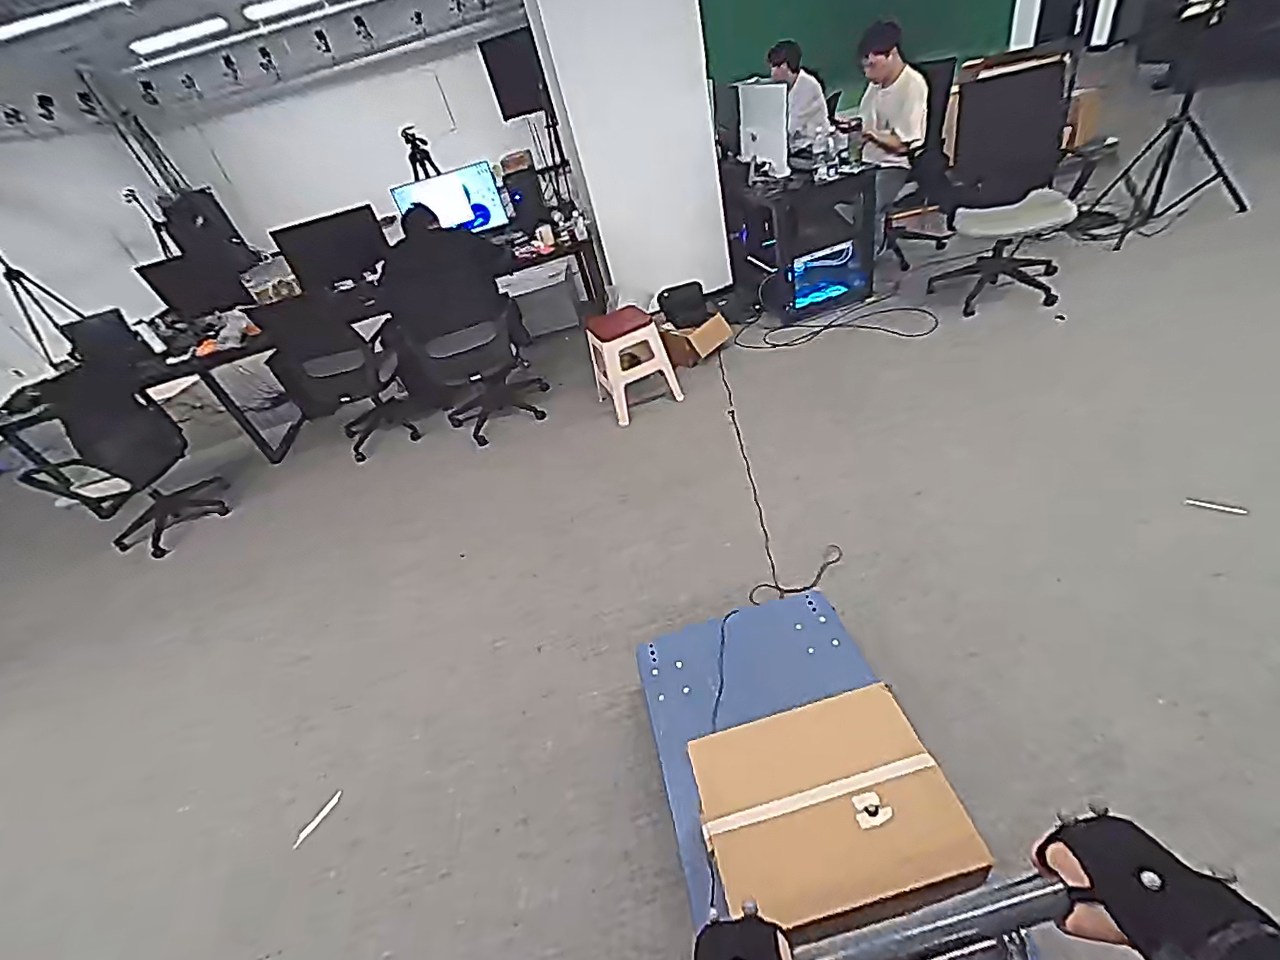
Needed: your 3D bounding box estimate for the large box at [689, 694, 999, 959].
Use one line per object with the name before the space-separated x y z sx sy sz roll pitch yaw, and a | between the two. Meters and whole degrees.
large box | 0.340 0.665 0.989 0.408 0.320 0.320 -16 38 -1
